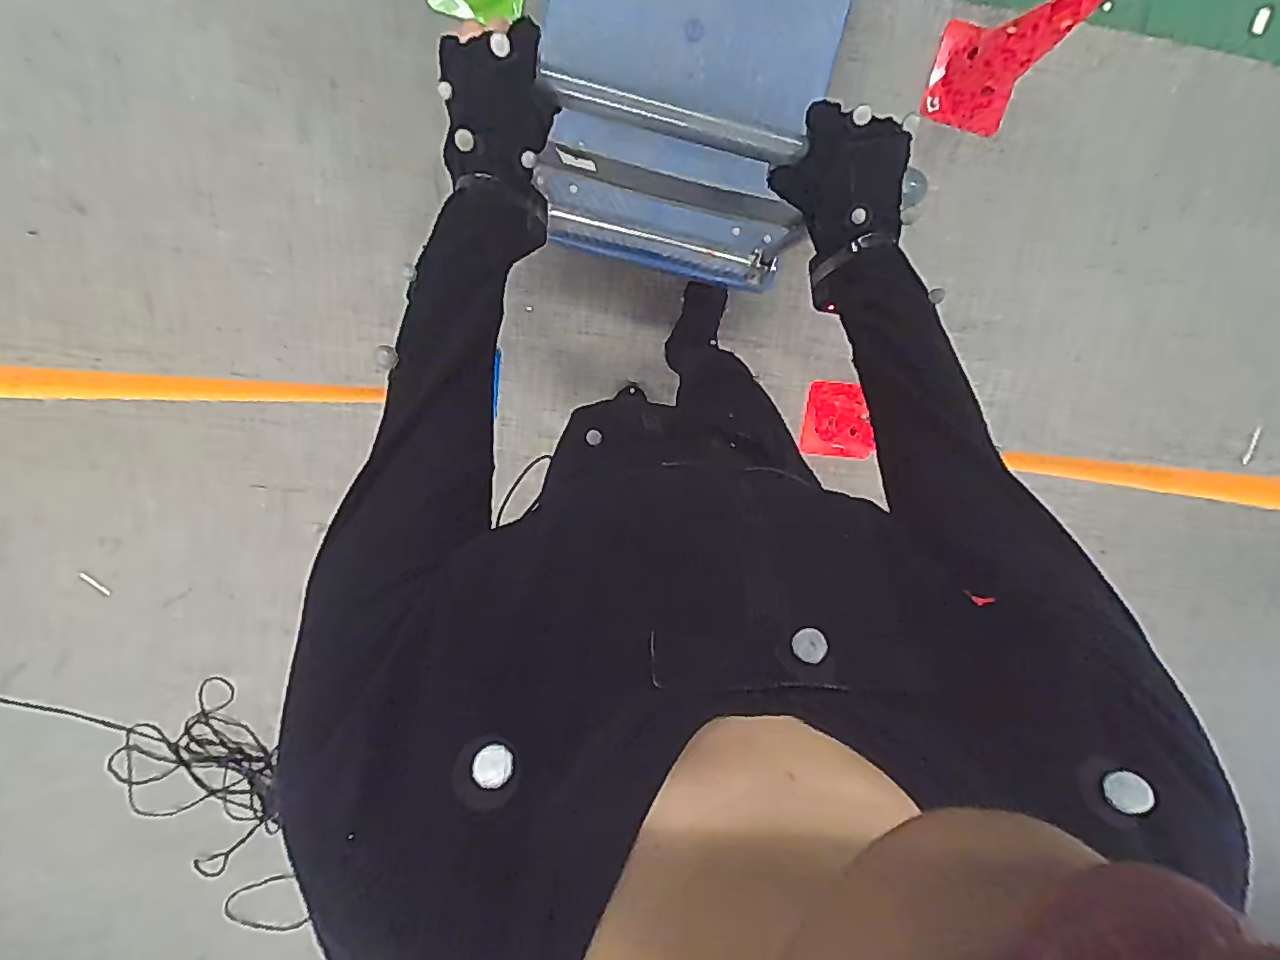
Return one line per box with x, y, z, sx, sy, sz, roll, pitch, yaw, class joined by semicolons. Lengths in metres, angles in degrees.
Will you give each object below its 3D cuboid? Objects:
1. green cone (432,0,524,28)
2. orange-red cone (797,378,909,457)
-0.338;-1.066;0.998;0.202;0.368;0.200;12;104;-5;green cone
0.537;-0.123;1.293;0.199;0.360;0.198;7;104;-3;orange-red cone
